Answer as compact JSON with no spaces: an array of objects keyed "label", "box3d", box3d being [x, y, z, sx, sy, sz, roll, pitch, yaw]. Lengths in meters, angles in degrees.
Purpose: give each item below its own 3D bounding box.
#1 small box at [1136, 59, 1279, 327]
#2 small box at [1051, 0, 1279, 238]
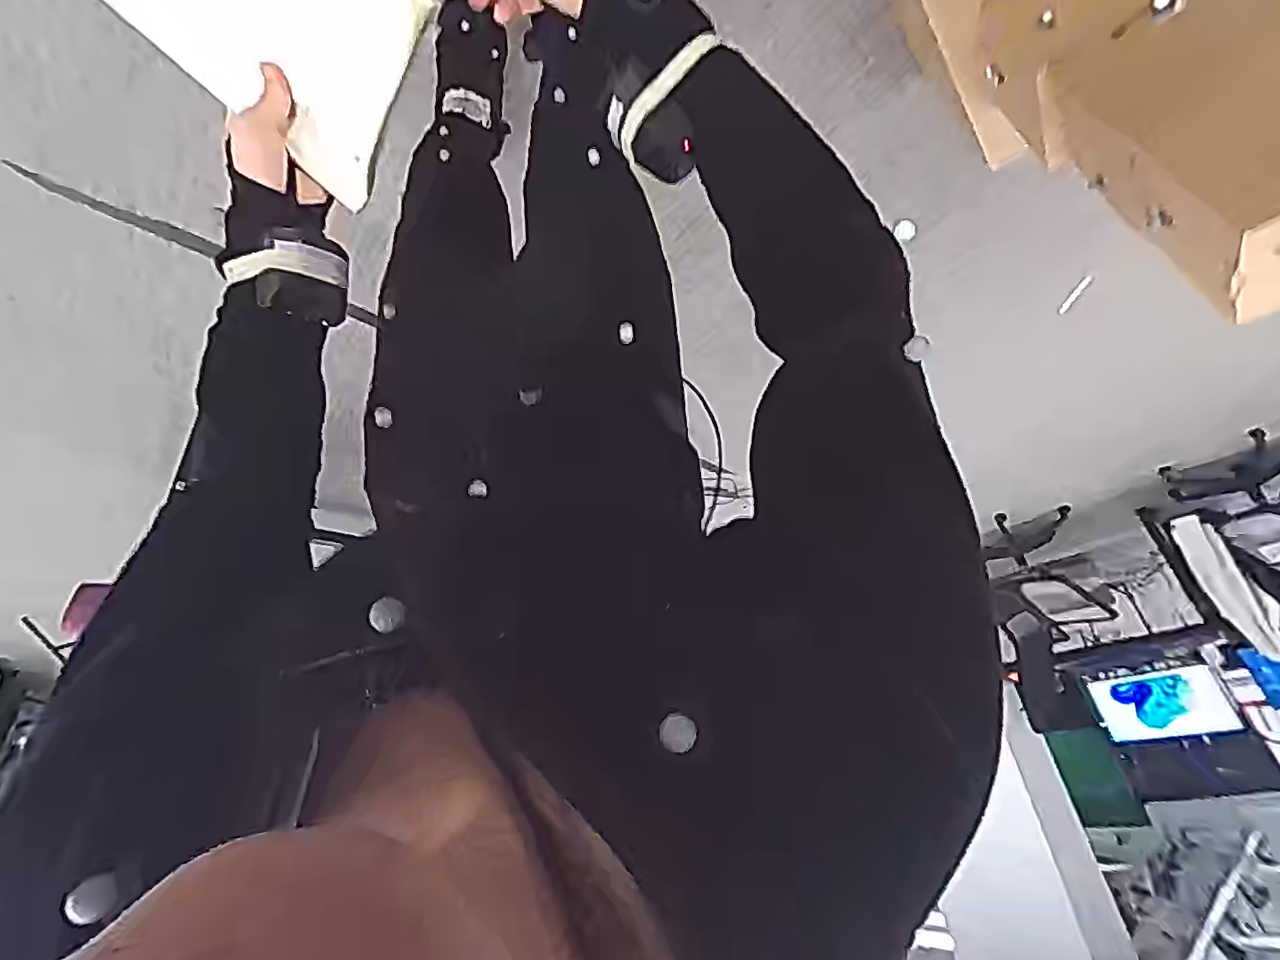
[{"label":"small box","box3d":[0.637,-0.293,0.523,0.179,0.176,0.168,-30,143,33]},{"label":"small box","box3d":[0.612,-0.428,0.614,0.179,0.176,0.168,23,138,-39]}]
